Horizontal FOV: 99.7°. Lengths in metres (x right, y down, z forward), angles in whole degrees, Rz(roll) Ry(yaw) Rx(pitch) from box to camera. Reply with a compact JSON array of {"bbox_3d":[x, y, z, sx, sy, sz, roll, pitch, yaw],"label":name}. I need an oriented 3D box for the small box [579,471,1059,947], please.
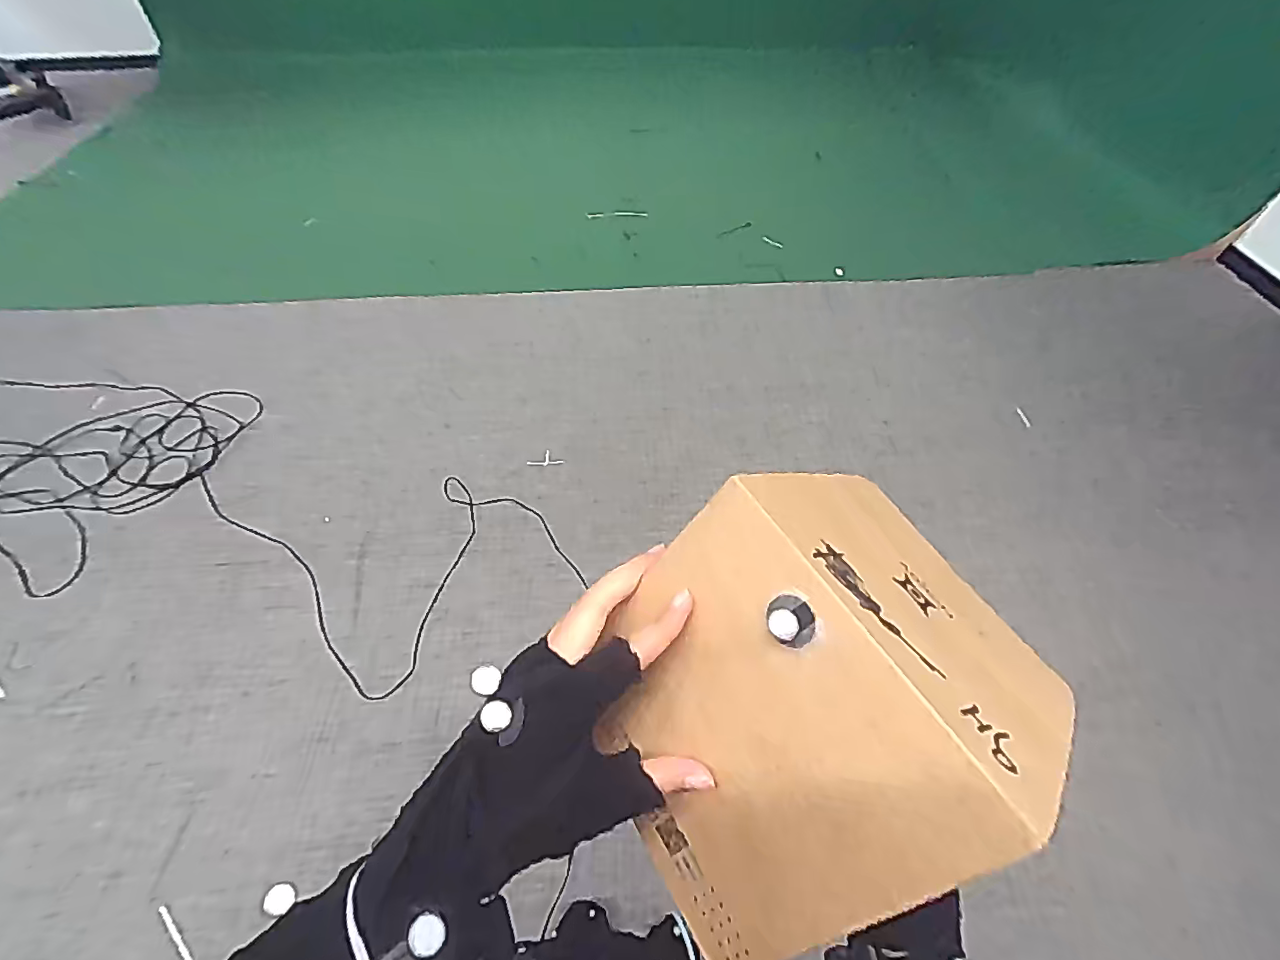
[{"bbox_3d":[0.098,0.114,0.319,0.179,0.176,0.168,2,44,-49],"label":"small box"}]
